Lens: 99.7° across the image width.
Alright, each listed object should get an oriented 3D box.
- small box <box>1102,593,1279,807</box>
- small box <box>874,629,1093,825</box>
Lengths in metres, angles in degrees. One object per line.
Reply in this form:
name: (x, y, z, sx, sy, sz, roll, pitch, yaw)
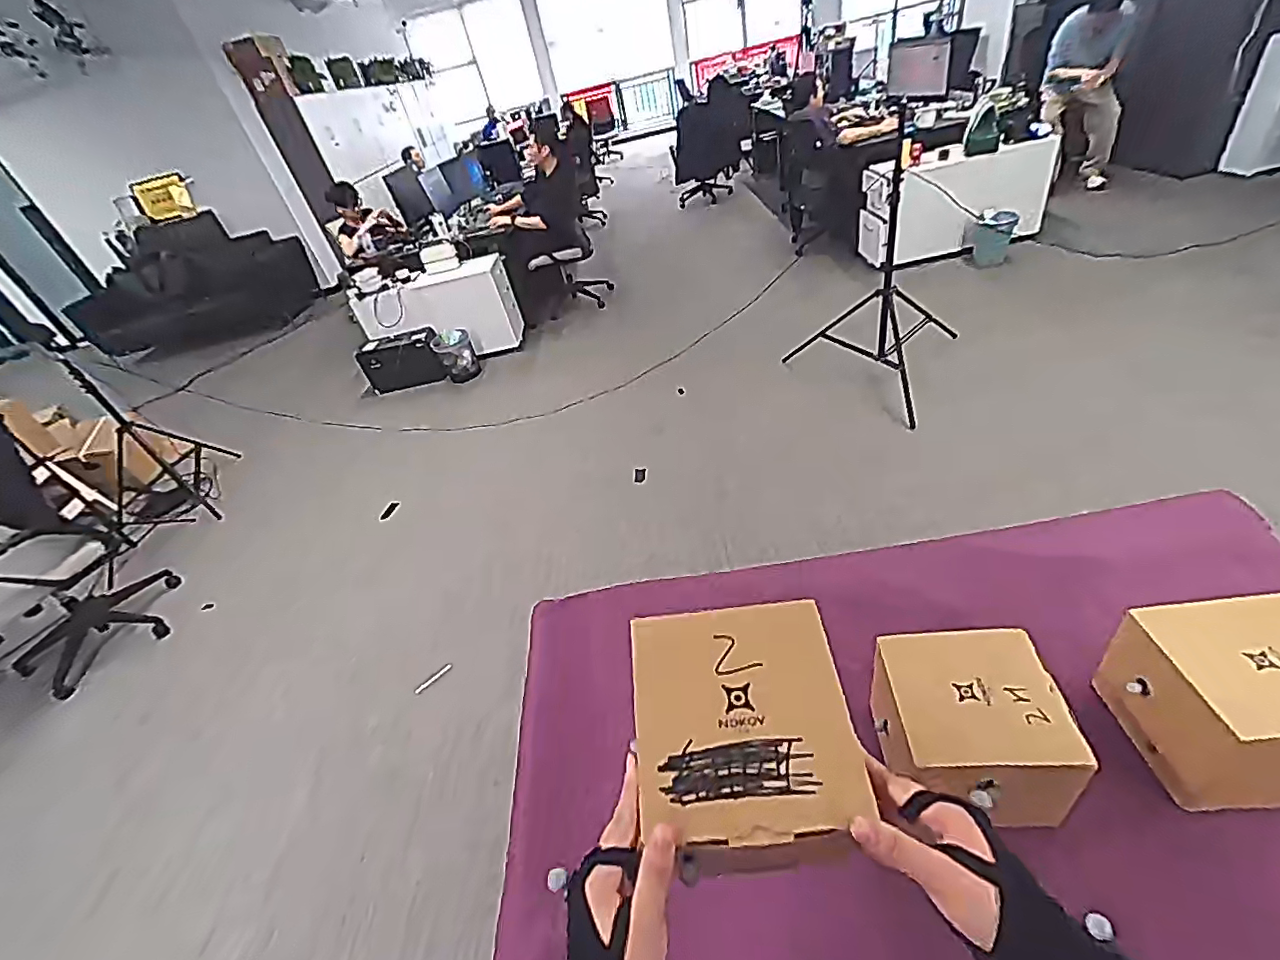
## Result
small box: (0.690, 0.258, 0.630, 0.179, 0.176, 0.168, -9, 36, 8)
small box: (0.397, 0.305, 0.667, 0.179, 0.176, 0.168, -6, 38, 11)
